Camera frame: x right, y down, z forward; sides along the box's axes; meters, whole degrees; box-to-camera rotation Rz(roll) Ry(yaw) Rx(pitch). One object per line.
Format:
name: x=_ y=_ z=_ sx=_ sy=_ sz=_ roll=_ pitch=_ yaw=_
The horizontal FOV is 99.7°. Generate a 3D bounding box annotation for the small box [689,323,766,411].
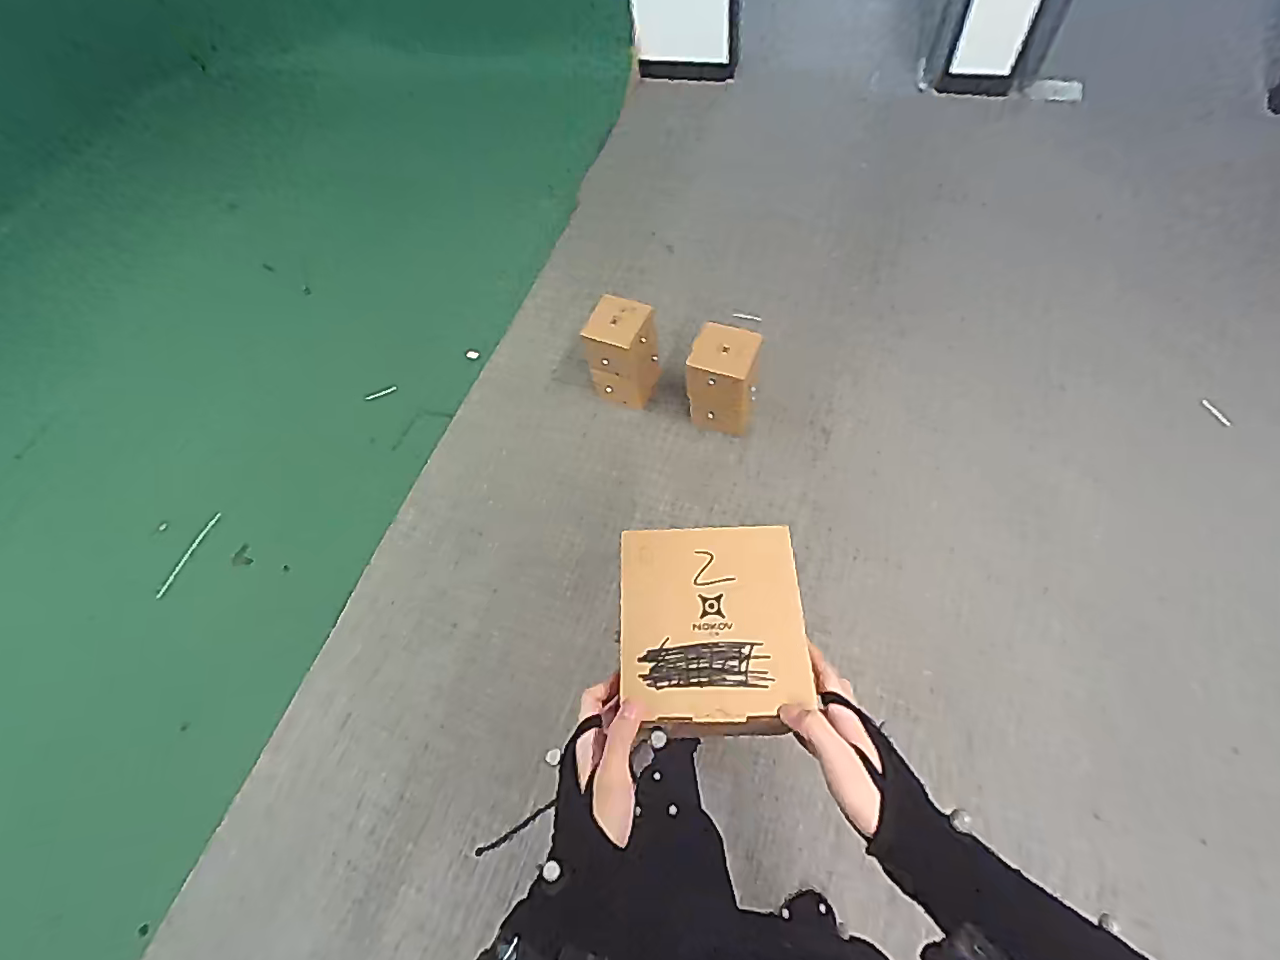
small box: x=0.257 y=-0.328 z=1.593 sx=0.179 sy=0.176 sz=0.168 roll=19 pitch=68 yaw=17

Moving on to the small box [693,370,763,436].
small box: x=0.284 y=-0.264 z=1.741 sx=0.179 sy=0.176 sz=0.168 roll=17 pitch=68 yaw=17

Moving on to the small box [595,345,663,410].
small box: x=-0.029 y=-0.365 z=1.844 sx=0.168 sy=0.176 sz=0.179 roll=19 pitch=67 yaw=18

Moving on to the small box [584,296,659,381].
small box: x=-0.048 y=-0.439 z=1.697 sx=0.168 sy=0.176 sz=0.179 roll=21 pitch=68 yaw=18
